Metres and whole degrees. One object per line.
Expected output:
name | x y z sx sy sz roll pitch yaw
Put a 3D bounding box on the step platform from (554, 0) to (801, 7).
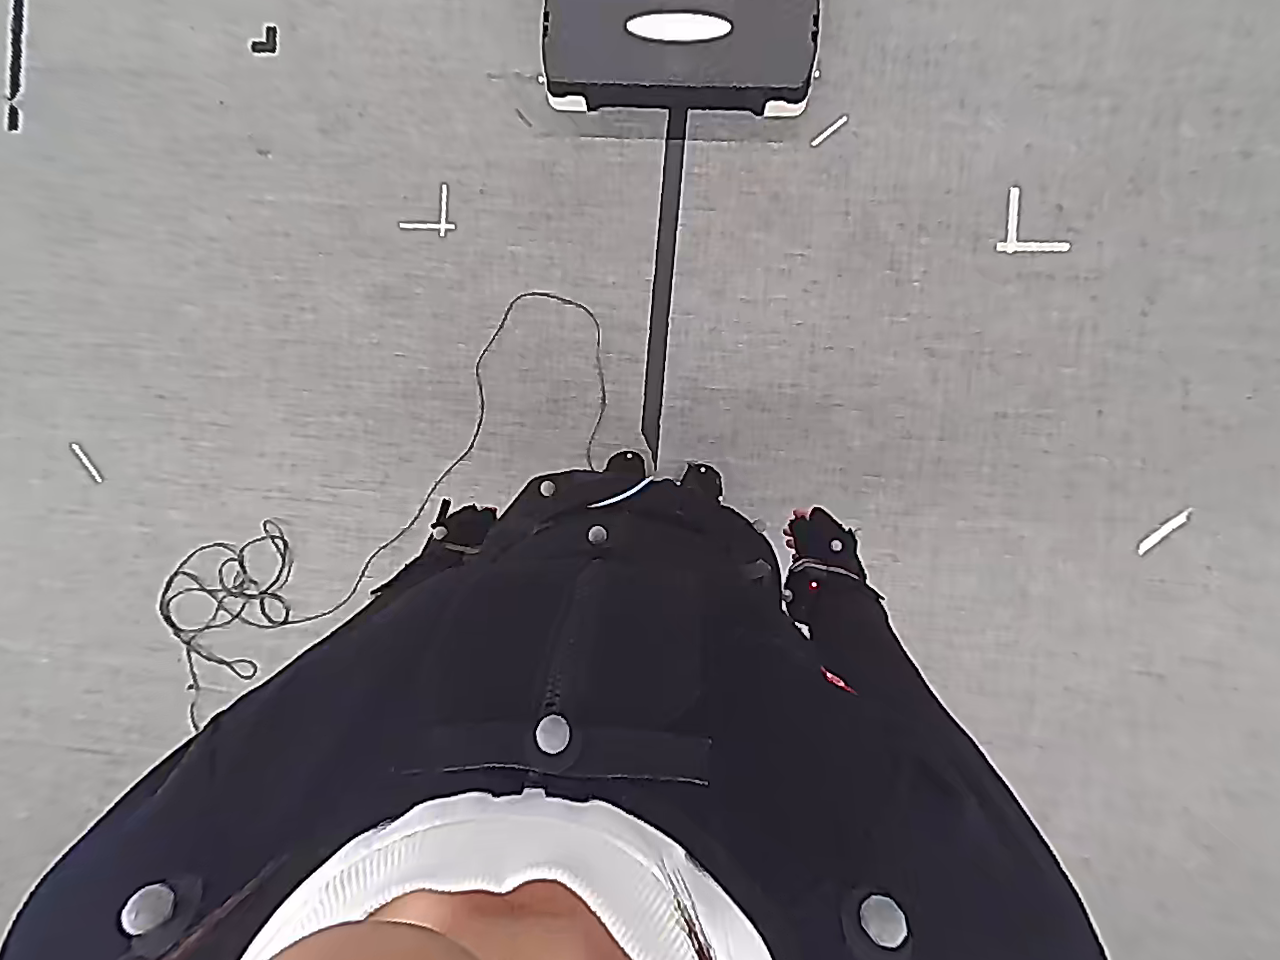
step platform | 0.089 -1.342 1.277 0.684 0.204 0.286 3 94 3
